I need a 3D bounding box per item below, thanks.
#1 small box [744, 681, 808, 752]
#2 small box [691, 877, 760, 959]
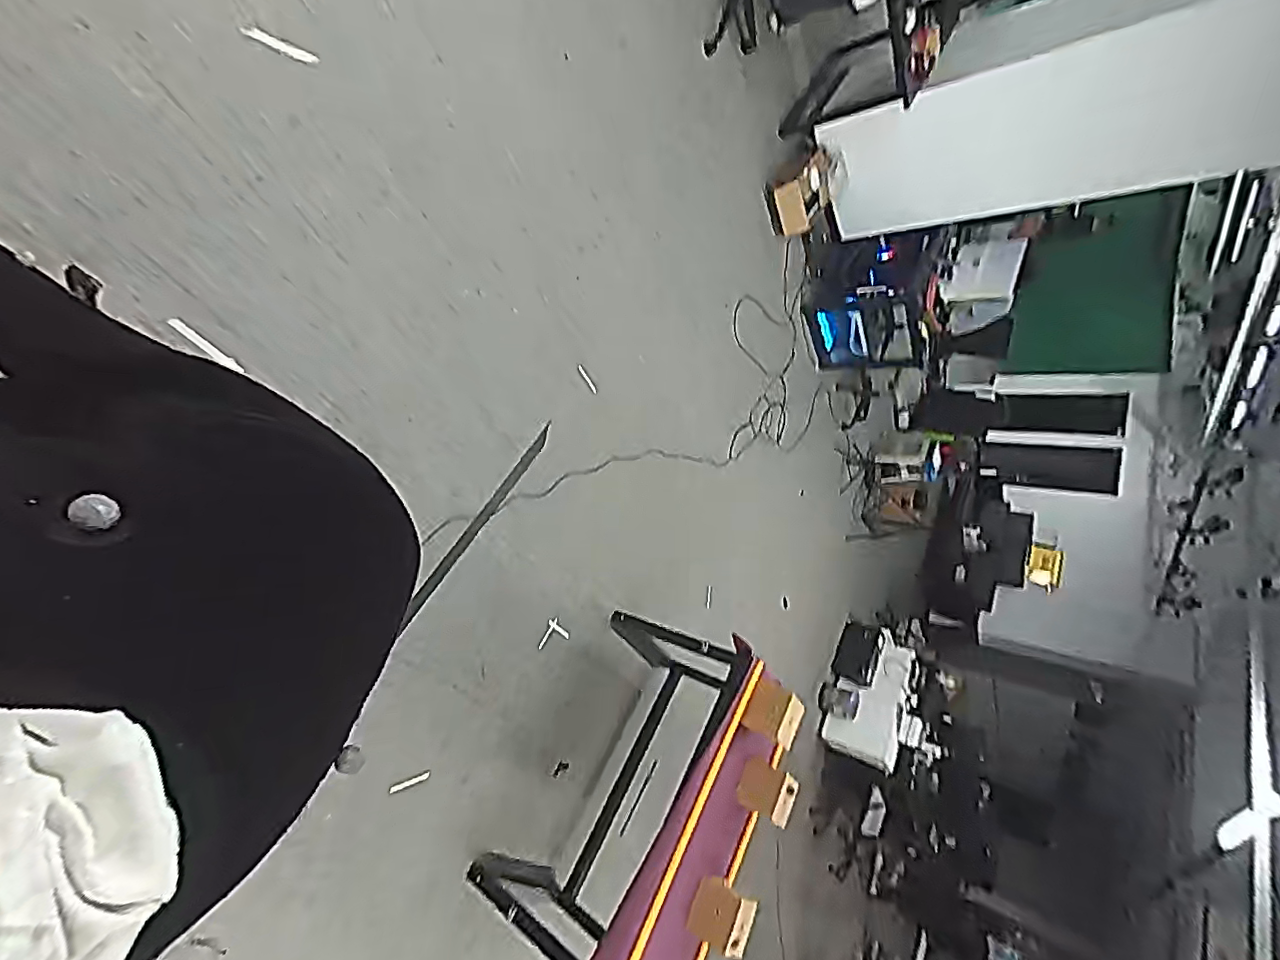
[{"bbox_3d":[0.524,0.915,2.099,0.179,0.176,0.168,-59,135,-23],"label":"small box"},{"bbox_3d":[0.307,1.592,1.962,0.168,0.176,0.179,51,58,-40],"label":"small box"}]
